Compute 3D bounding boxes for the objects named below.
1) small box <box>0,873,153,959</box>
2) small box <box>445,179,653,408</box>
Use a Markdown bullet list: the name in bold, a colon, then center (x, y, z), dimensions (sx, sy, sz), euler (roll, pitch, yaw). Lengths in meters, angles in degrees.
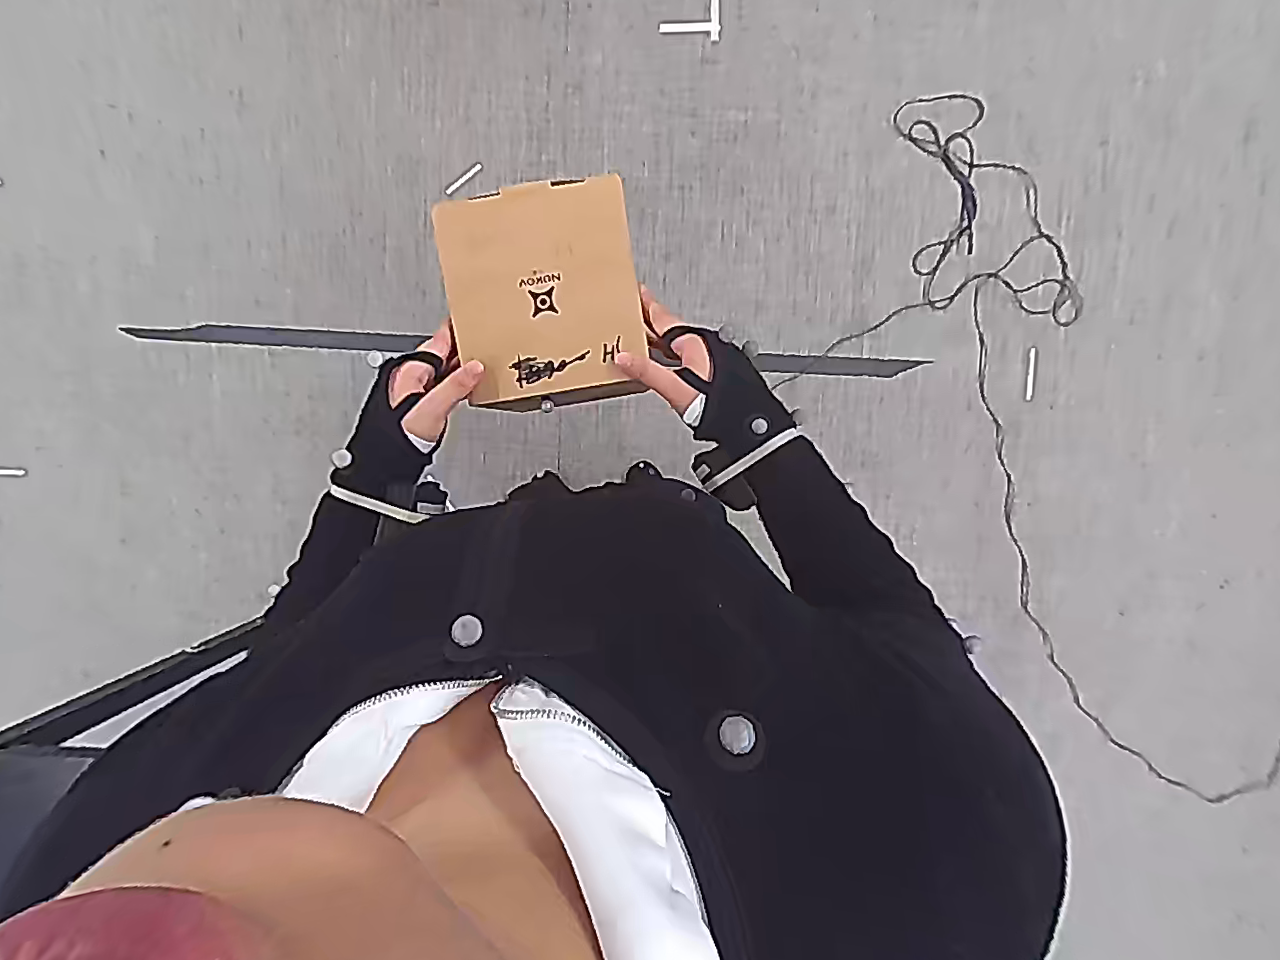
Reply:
- **small box**: center (-0.828, 0.687, 0.749), dimensions (0.179, 0.176, 0.168), euler (4, 94, 1)
- **small box**: center (-0.080, -0.174, 0.558), dimensions (0.168, 0.176, 0.179), euler (-8, 96, 2)
